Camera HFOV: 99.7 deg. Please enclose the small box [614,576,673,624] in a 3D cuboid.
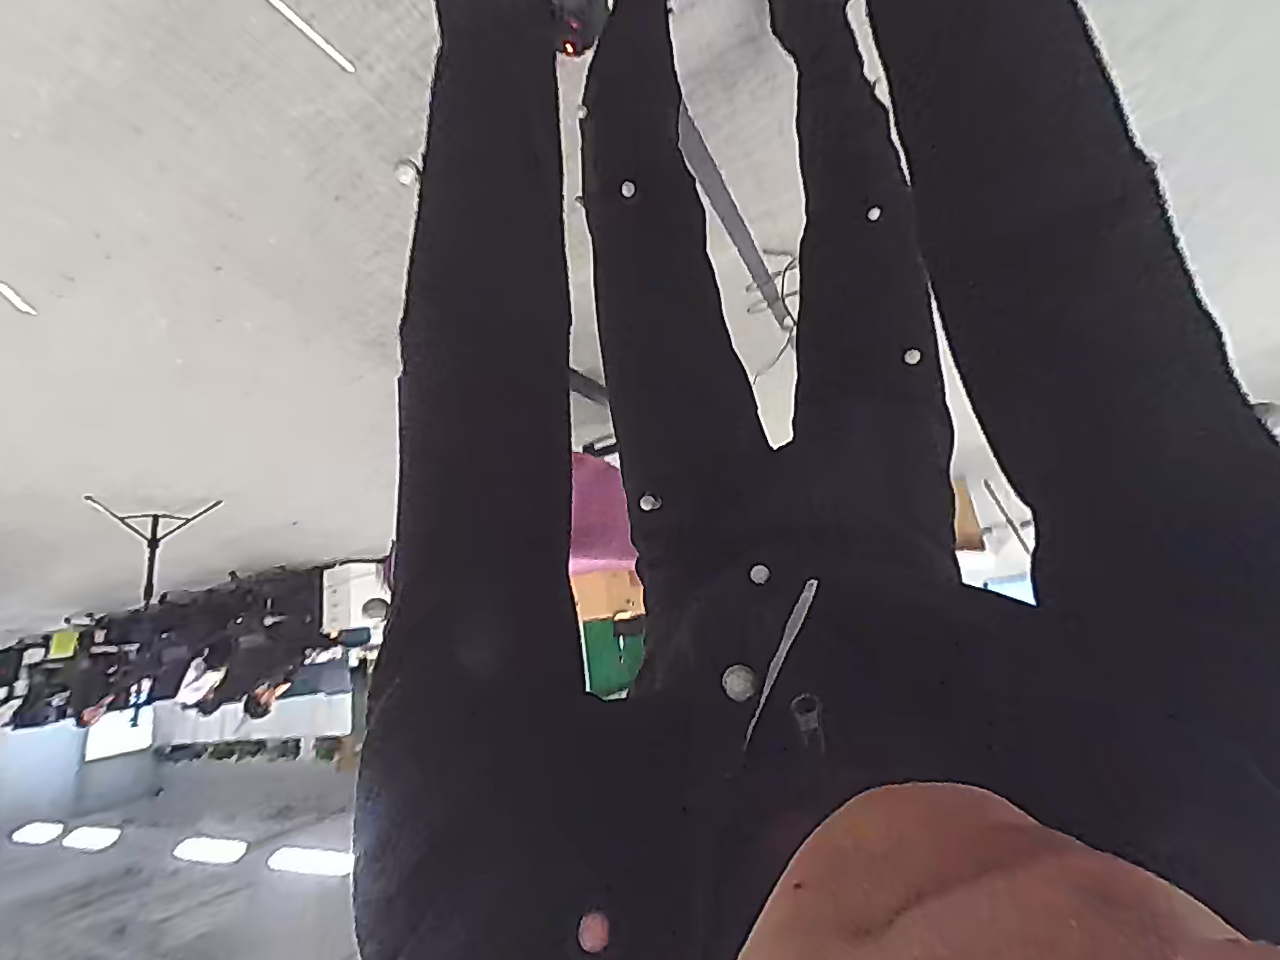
[{"bbox_3d":[0.010,0.494,2.240,0.179,0.176,0.168,-18,161,35],"label":"small box"}]
